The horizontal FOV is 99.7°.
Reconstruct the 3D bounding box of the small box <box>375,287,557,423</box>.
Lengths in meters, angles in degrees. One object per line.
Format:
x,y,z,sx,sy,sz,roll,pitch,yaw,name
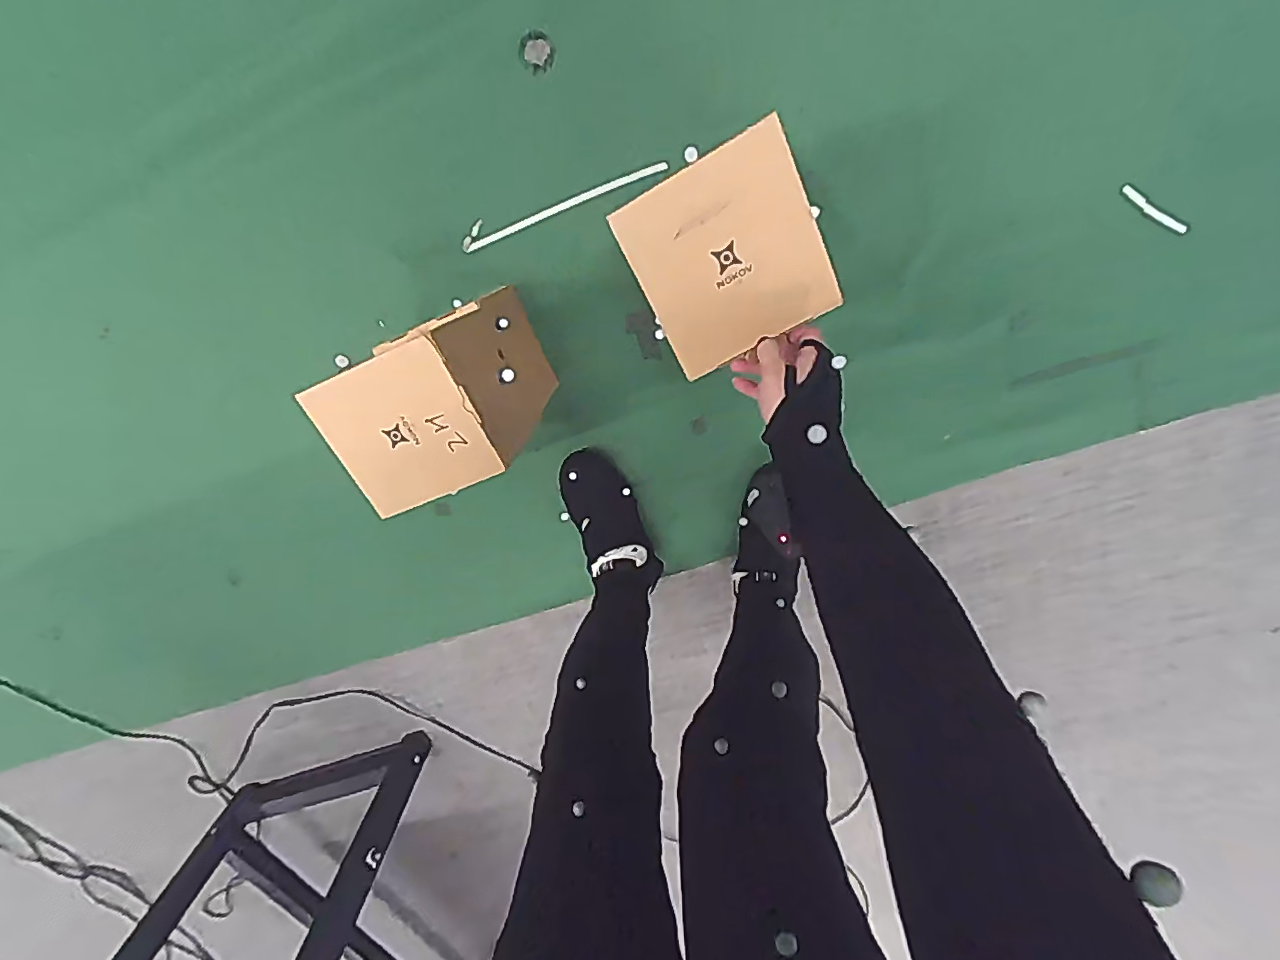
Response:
-0.241,-0.166,0.804,0.168,0.176,0.179,-20,113,13,small box

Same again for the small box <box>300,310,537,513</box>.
-0.250,-0.089,0.659,0.179,0.176,0.168,-20,113,12,small box

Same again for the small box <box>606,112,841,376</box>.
0.083,-0.241,0.566,0.168,0.176,0.179,-26,113,13,small box
